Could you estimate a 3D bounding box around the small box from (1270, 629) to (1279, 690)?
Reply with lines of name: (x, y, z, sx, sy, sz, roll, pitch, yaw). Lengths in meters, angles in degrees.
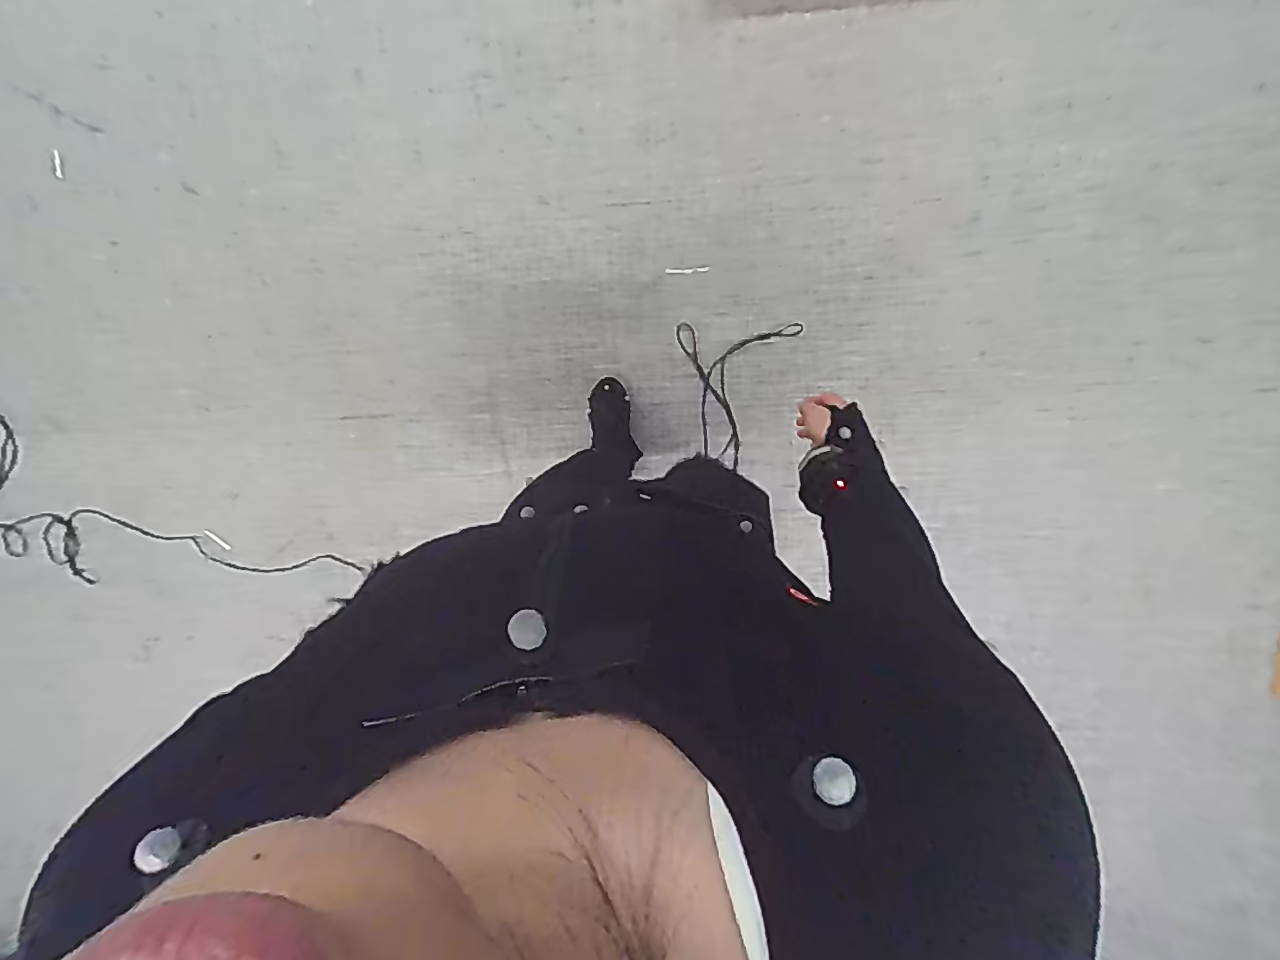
small box: (1.735, 0.479, 1.334, 0.168, 0.176, 0.179, -1, 98, 5)
